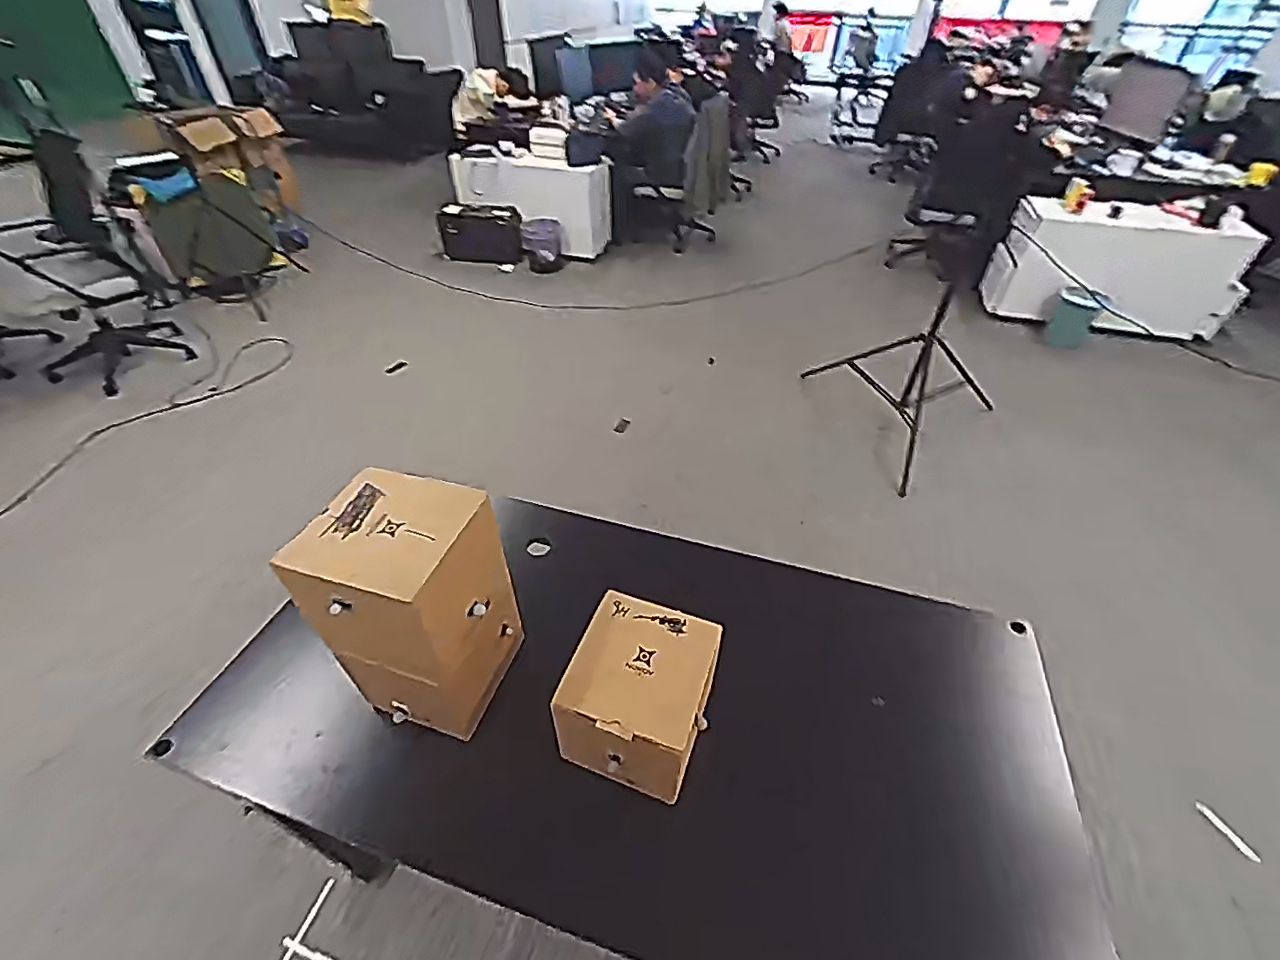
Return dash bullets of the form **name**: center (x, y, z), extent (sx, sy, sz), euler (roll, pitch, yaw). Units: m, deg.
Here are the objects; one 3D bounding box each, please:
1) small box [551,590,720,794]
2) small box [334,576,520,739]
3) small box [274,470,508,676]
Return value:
- **small box**: center (0.002, 0.285, 0.725), extent (0.168, 0.176, 0.179), euler (14, 45, 15)
- **small box**: center (-0.286, 0.235, 0.776), extent (0.168, 0.176, 0.179), euler (11, 44, 13)
- **small box**: center (-0.285, 0.115, 0.664), extent (0.179, 0.176, 0.168), euler (11, 44, 11)
